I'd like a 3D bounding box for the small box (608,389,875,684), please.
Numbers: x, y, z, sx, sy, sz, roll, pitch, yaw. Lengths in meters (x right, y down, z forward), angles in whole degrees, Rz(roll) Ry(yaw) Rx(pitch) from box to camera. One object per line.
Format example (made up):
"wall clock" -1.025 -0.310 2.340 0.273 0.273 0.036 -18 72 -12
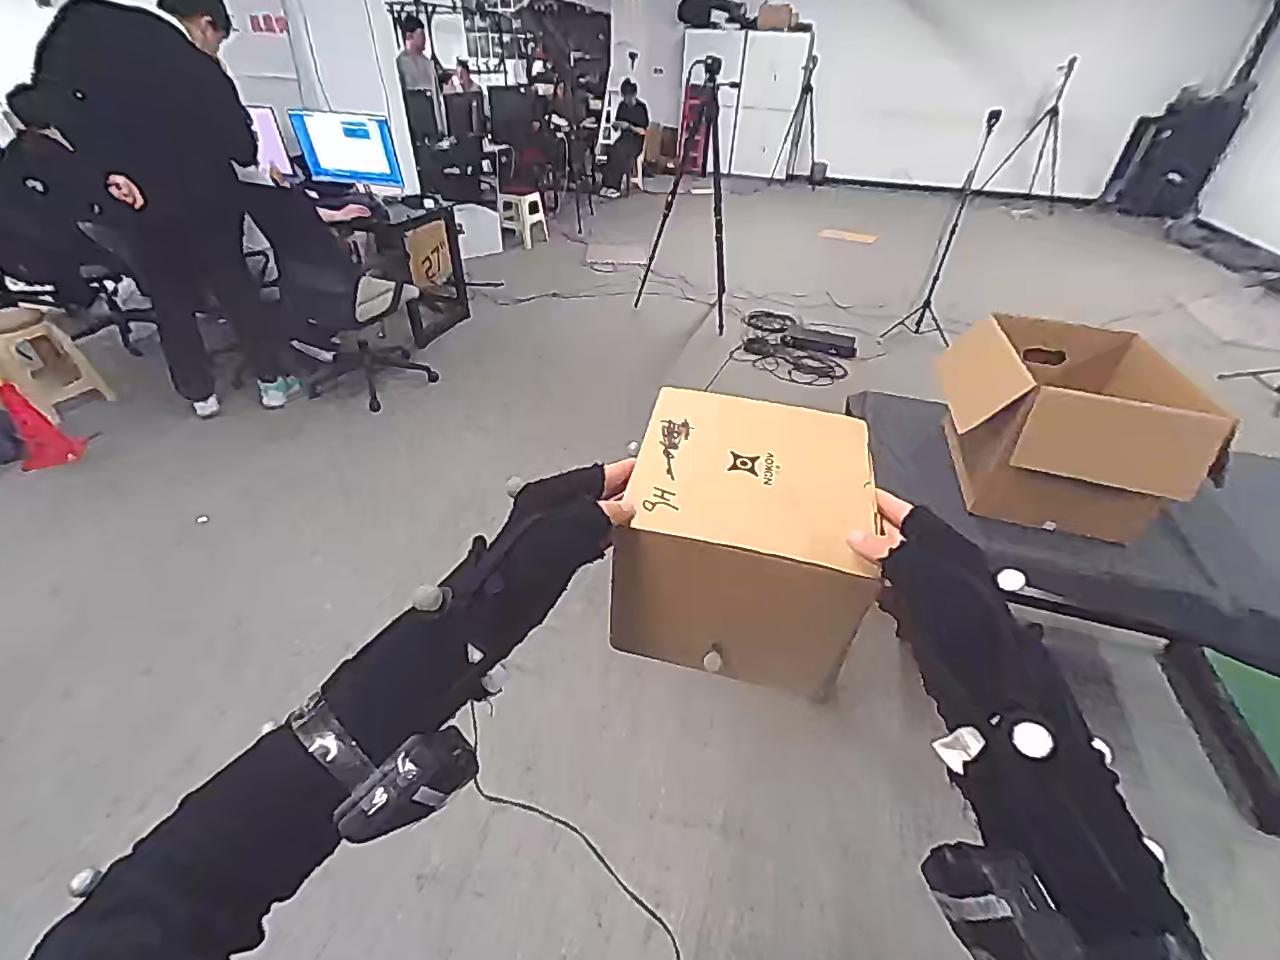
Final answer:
"small box" 0.079 0.051 0.464 0.179 0.176 0.168 13 44 7
